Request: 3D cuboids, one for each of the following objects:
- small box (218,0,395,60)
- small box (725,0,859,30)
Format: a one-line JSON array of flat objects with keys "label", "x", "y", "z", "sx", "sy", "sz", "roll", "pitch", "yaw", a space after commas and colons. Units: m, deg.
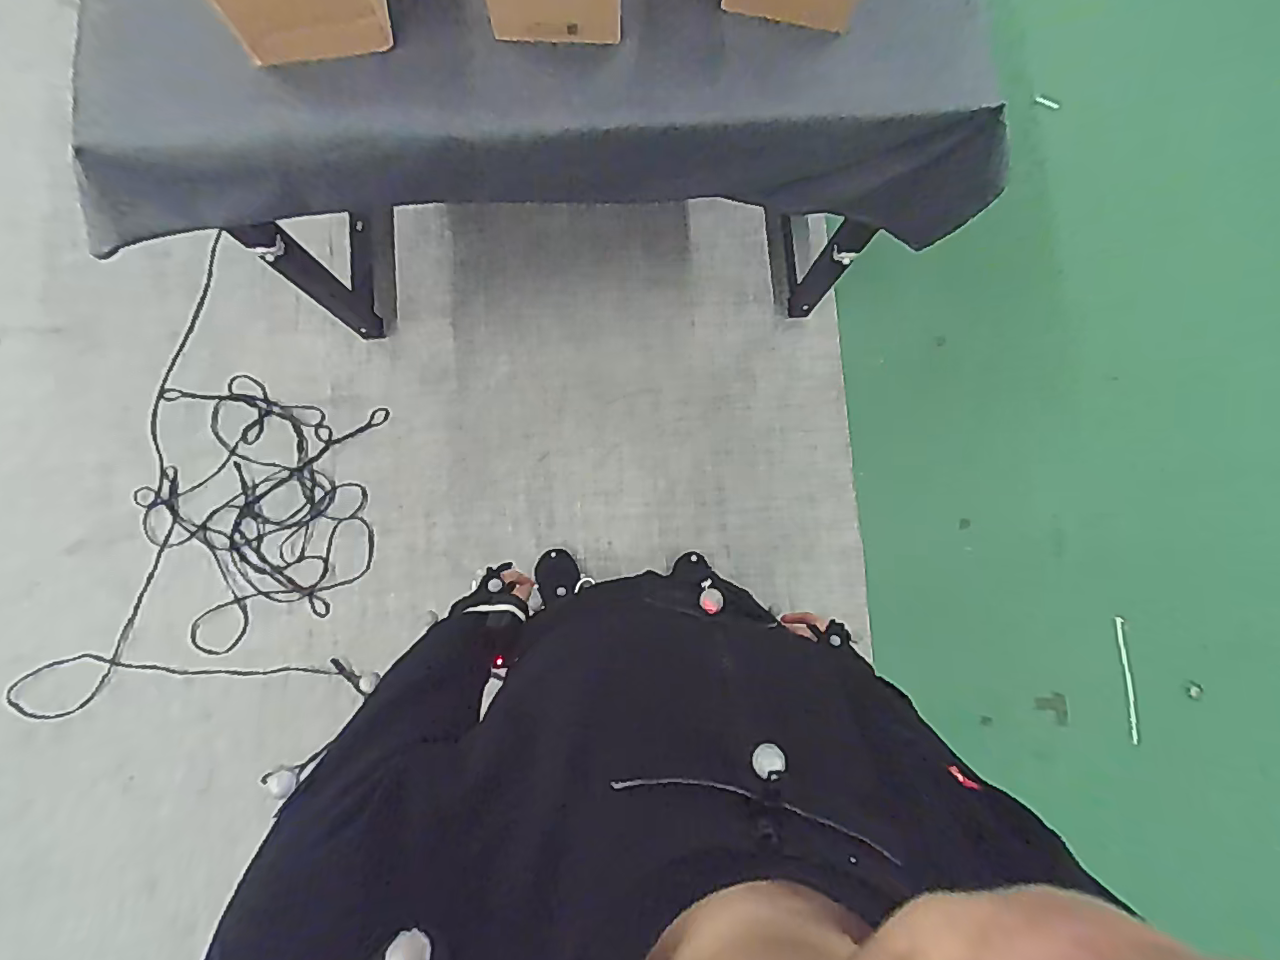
[{"label": "small box", "x": -0.414, "y": -0.634, "z": 0.629, "sx": 0.179, "sy": 0.176, "sz": 0.168, "roll": -11, "pitch": 84, "yaw": -4}, {"label": "small box", "x": 0.214, "y": -0.707, "z": 0.664, "sx": 0.179, "sy": 0.176, "sz": 0.168, "roll": 10, "pitch": 82, "yaw": 0}]
